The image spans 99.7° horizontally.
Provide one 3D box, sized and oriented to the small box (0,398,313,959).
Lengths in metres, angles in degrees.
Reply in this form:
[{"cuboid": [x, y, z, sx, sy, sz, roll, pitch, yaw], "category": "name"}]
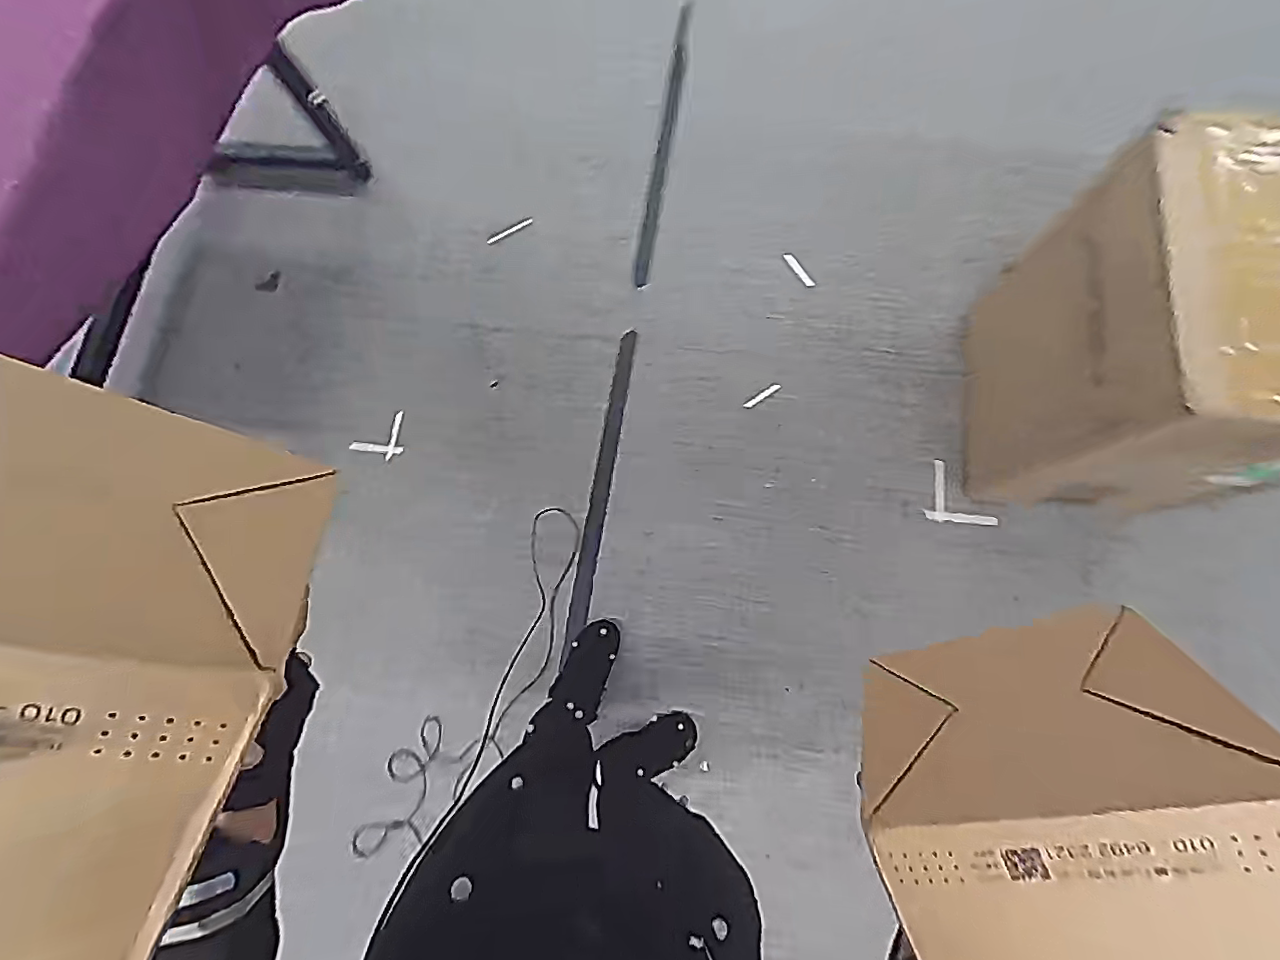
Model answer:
[{"cuboid": [-0.249, 0.070, 0.208, 0.168, 0.179, 0.176, 20, 101, -29], "category": "small box"}]
